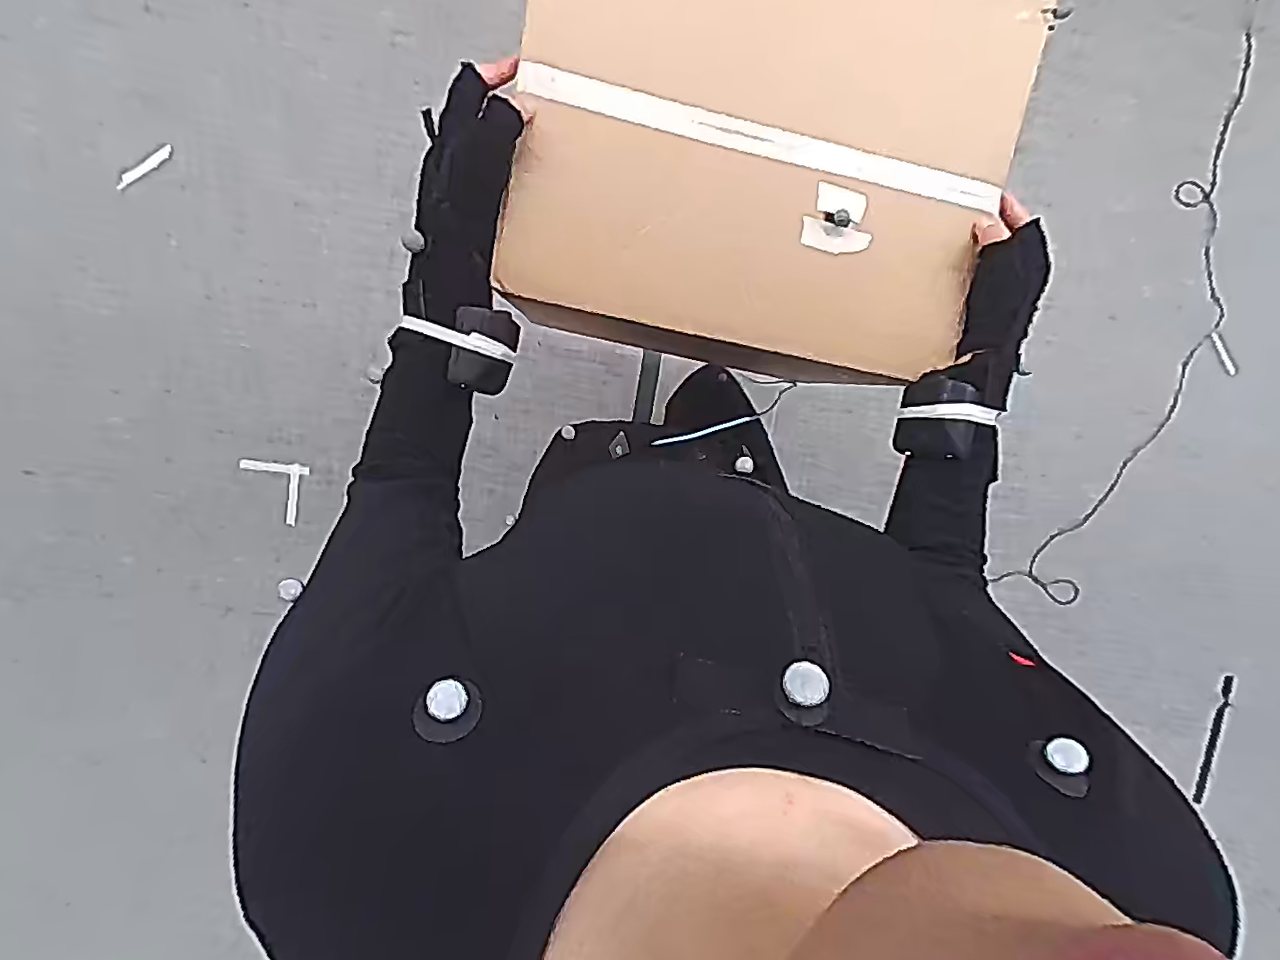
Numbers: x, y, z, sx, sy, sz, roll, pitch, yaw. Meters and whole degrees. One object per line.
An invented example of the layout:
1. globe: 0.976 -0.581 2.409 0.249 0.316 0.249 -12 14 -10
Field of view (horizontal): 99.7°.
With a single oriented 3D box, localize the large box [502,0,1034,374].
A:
1. large box: 0.089 -0.306 0.589 0.408 0.320 0.320 10 101 -8
